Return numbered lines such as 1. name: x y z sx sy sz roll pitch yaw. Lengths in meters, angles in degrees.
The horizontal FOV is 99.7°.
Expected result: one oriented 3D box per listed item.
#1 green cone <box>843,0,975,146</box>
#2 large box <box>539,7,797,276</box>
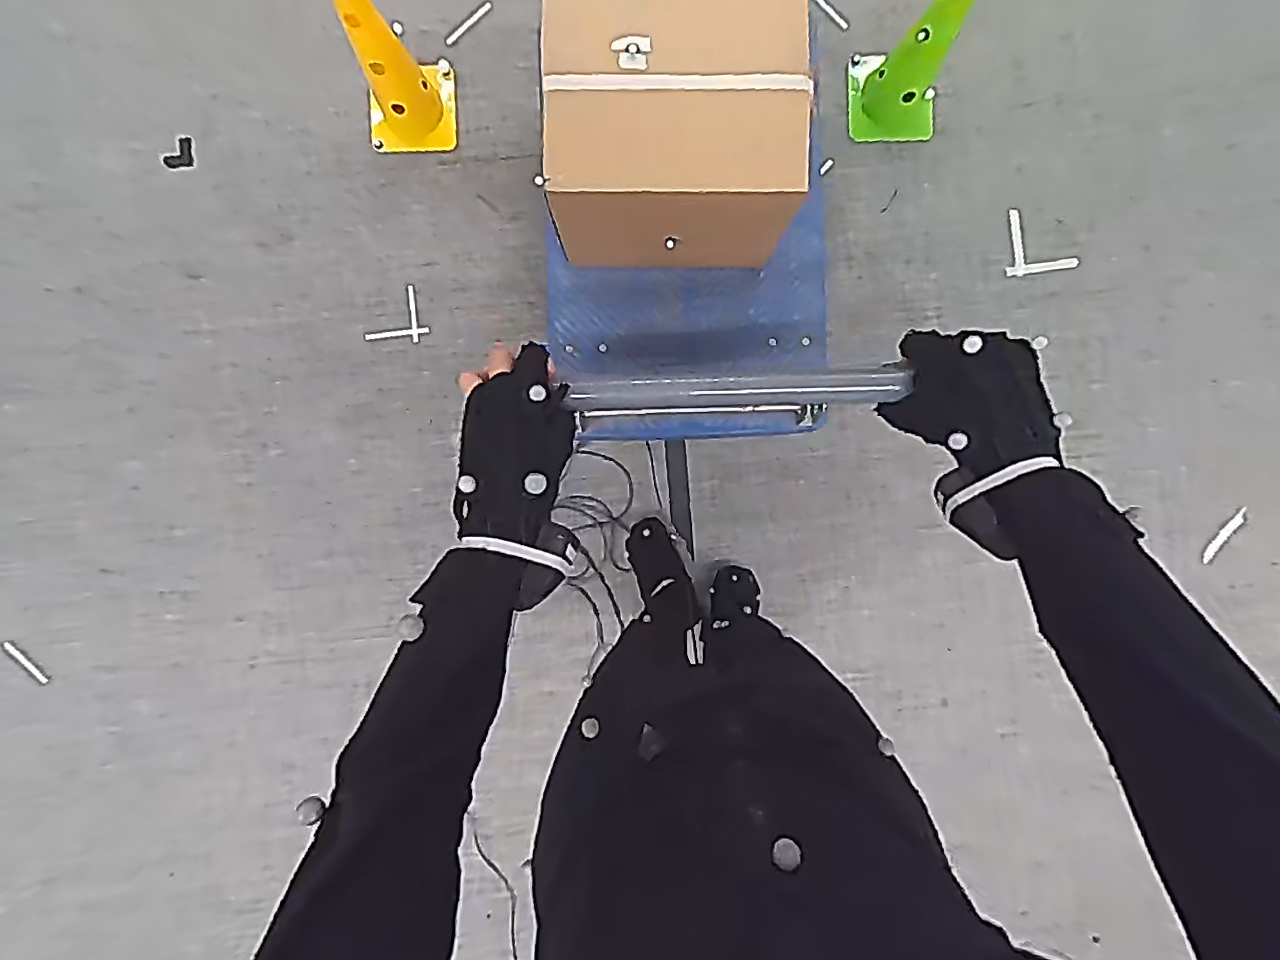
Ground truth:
1. green cone: 0.591 -0.901 1.127 0.202 0.368 0.200 -2 91 -1
2. large box: 0.047 -0.577 0.987 0.408 0.320 0.320 0 91 1
